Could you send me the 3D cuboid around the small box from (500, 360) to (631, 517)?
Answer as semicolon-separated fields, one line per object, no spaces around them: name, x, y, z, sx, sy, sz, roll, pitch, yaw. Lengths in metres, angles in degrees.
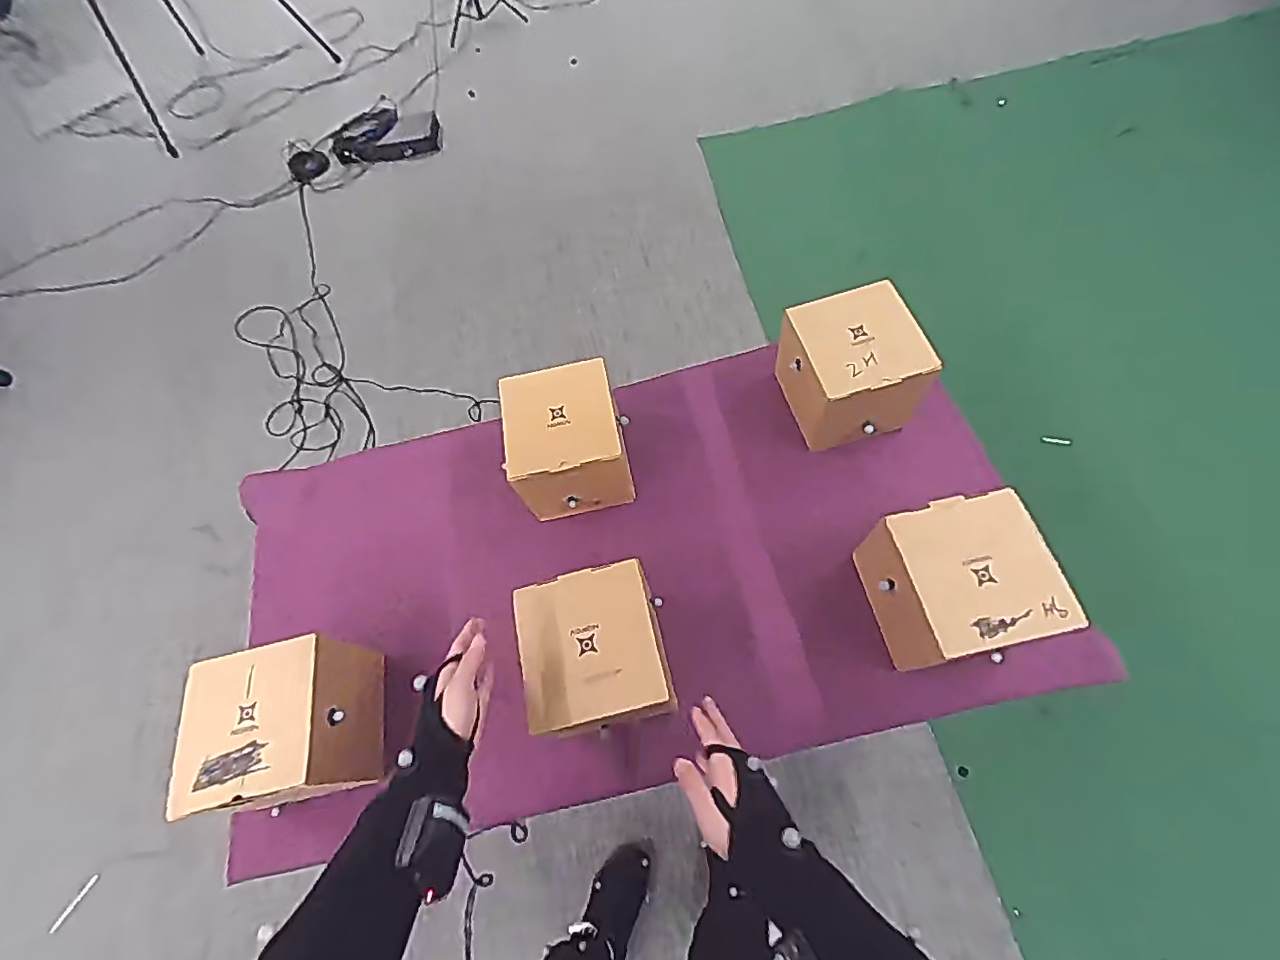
small box;-0.115;-0.060;0.869;0.168;0.176;0.179;-13;67;2

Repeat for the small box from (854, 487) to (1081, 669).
small box;0.400;0.134;0.704;0.168;0.176;0.179;-14;65;3

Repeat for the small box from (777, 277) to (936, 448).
small box;0.325;-0.178;0.856;0.168;0.176;0.179;-17;65;3

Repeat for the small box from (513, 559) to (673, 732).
small box;-0.058;0.229;0.728;0.168;0.176;0.179;-15;64;2

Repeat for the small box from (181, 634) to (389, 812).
small box;-0.464;0.327;0.737;0.168;0.176;0.179;-14;63;1
